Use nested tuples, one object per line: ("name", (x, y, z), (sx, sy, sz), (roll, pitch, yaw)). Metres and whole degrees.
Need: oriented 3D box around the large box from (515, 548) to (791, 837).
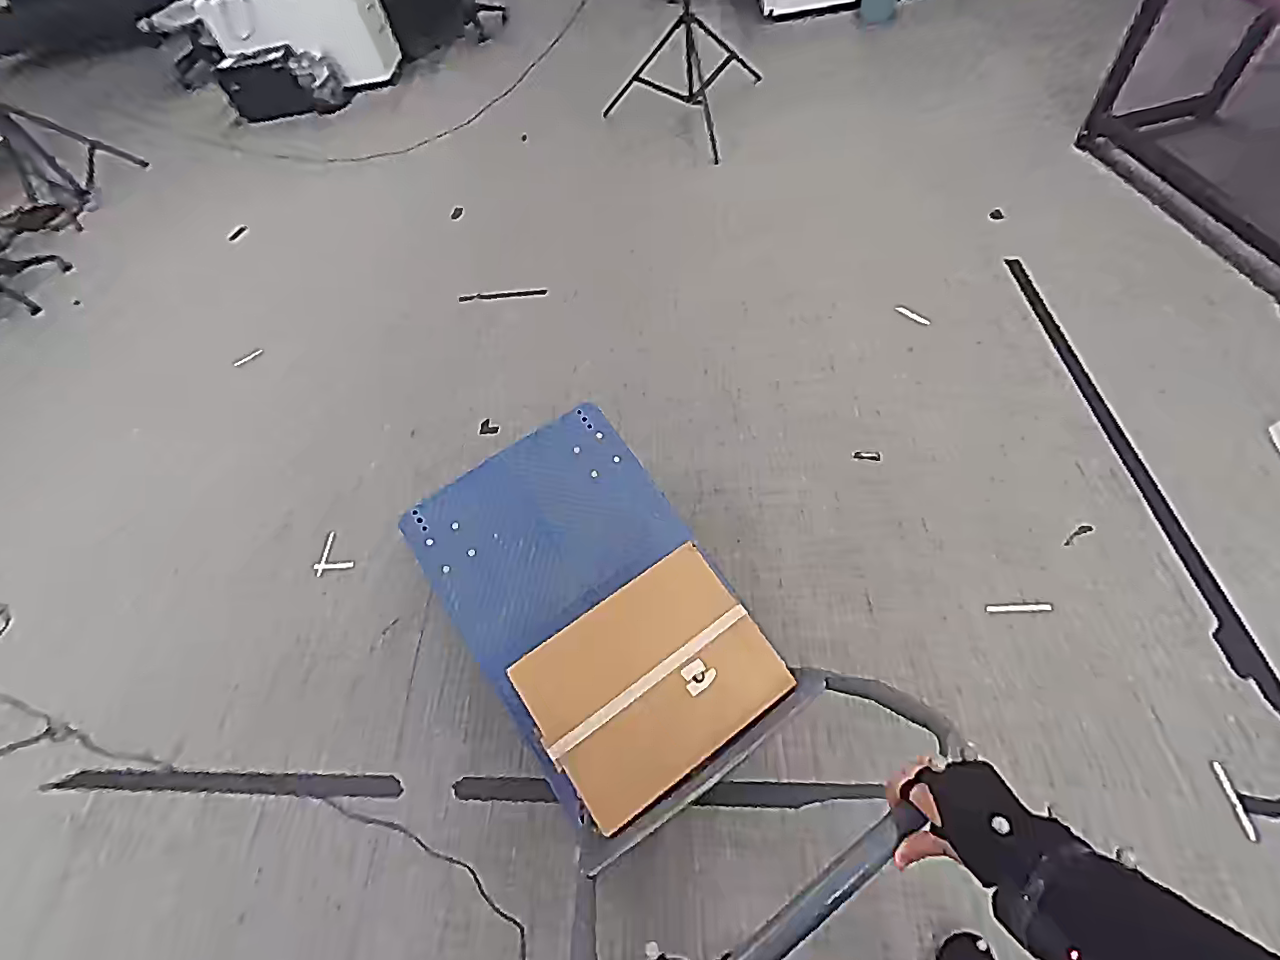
("large box", (0.018, 0.405, 1.090), (0.408, 0.320, 0.320), (-34, 76, -13))
